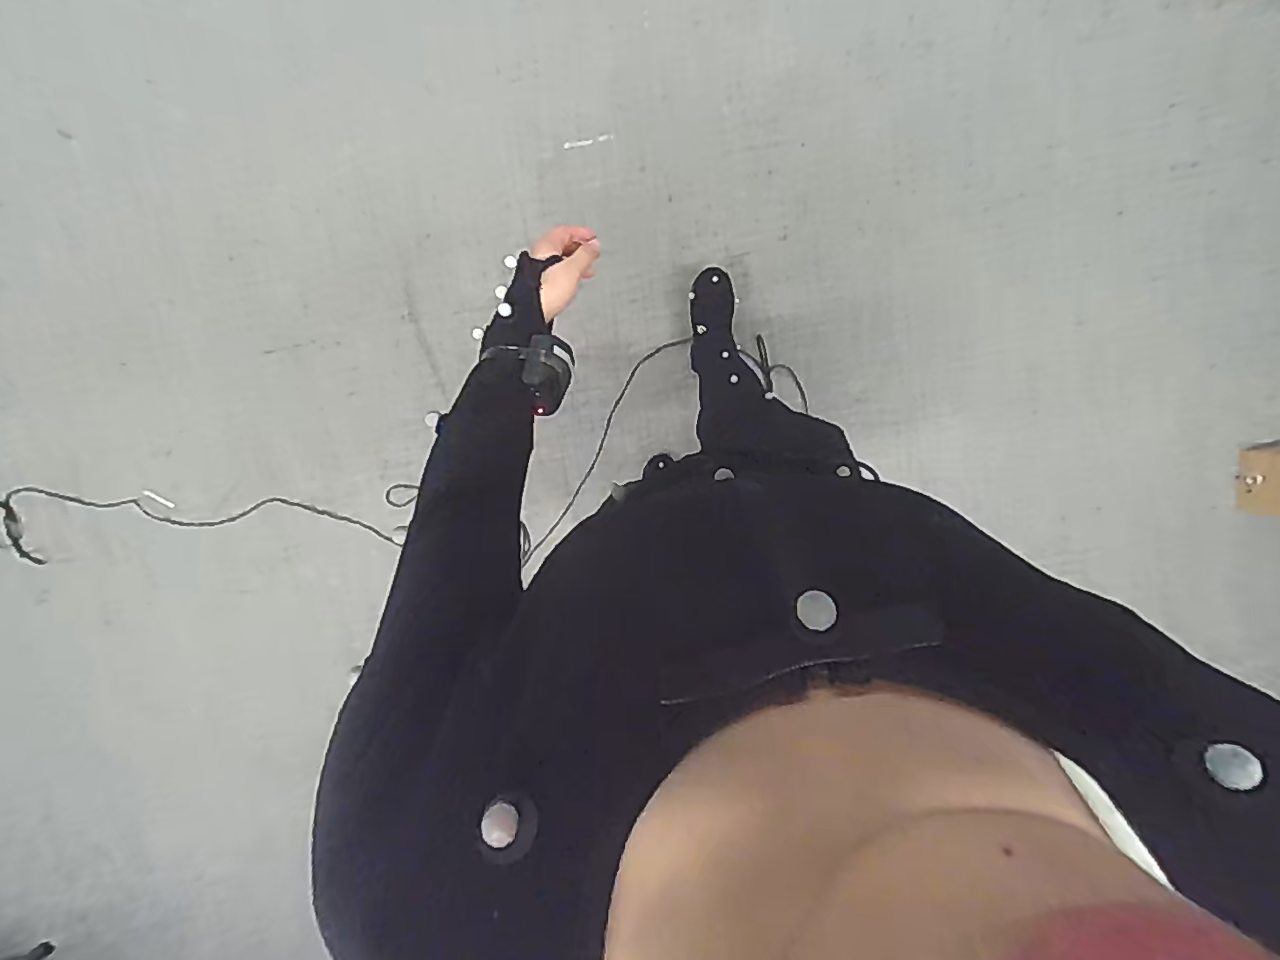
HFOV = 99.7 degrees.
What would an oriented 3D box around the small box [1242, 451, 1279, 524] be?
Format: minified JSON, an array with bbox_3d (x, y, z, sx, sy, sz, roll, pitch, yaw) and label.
[{"bbox_3d":[1.651,0.016,1.321,0.179,0.176,0.168,-10,98,6],"label":"small box"}]
